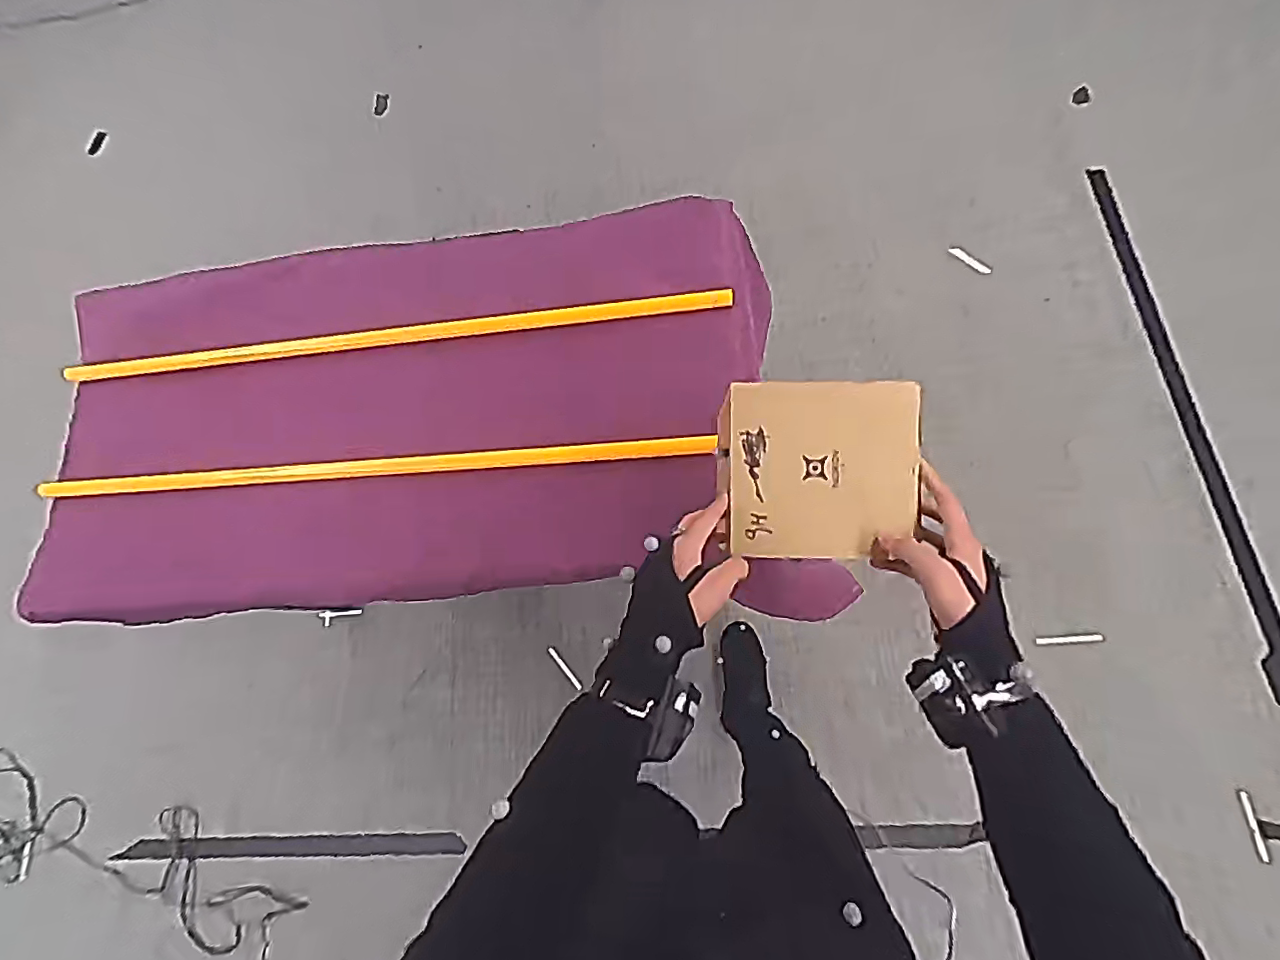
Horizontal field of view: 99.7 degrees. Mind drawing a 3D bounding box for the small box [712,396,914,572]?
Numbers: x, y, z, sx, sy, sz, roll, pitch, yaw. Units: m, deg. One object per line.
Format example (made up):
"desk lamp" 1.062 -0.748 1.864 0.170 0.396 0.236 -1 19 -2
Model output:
"small box" 0.173 0.004 0.588 0.179 0.176 0.168 0 88 4
